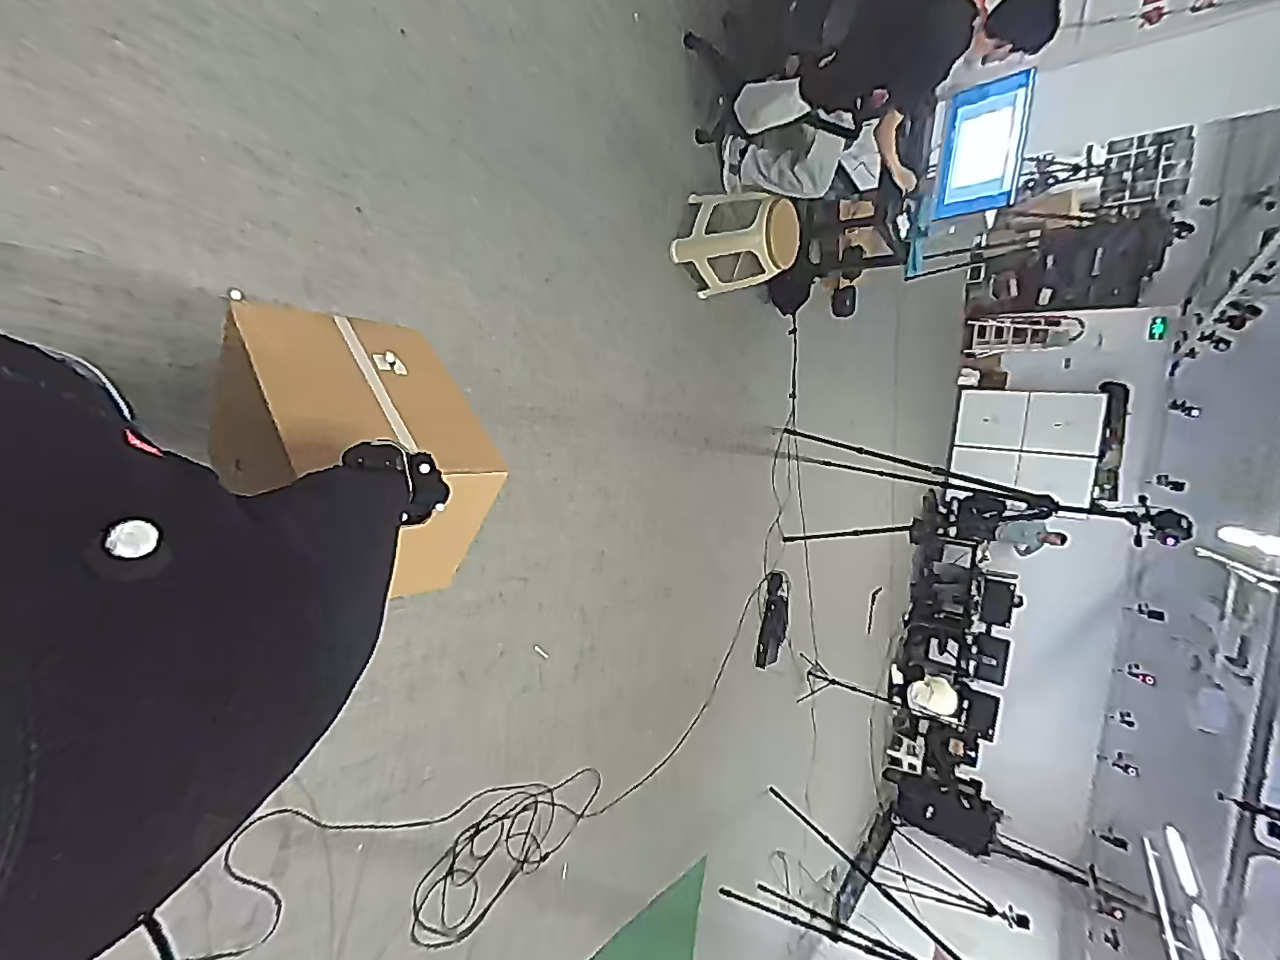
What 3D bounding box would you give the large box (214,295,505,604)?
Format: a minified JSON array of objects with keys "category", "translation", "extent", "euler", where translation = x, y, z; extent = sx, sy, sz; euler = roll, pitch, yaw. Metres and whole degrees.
[{"category":"large box","translation":[-0.508,-0.057,0.951],"extent":[0.320,0.408,0.320],"euler":[-4,138,-49]}]
